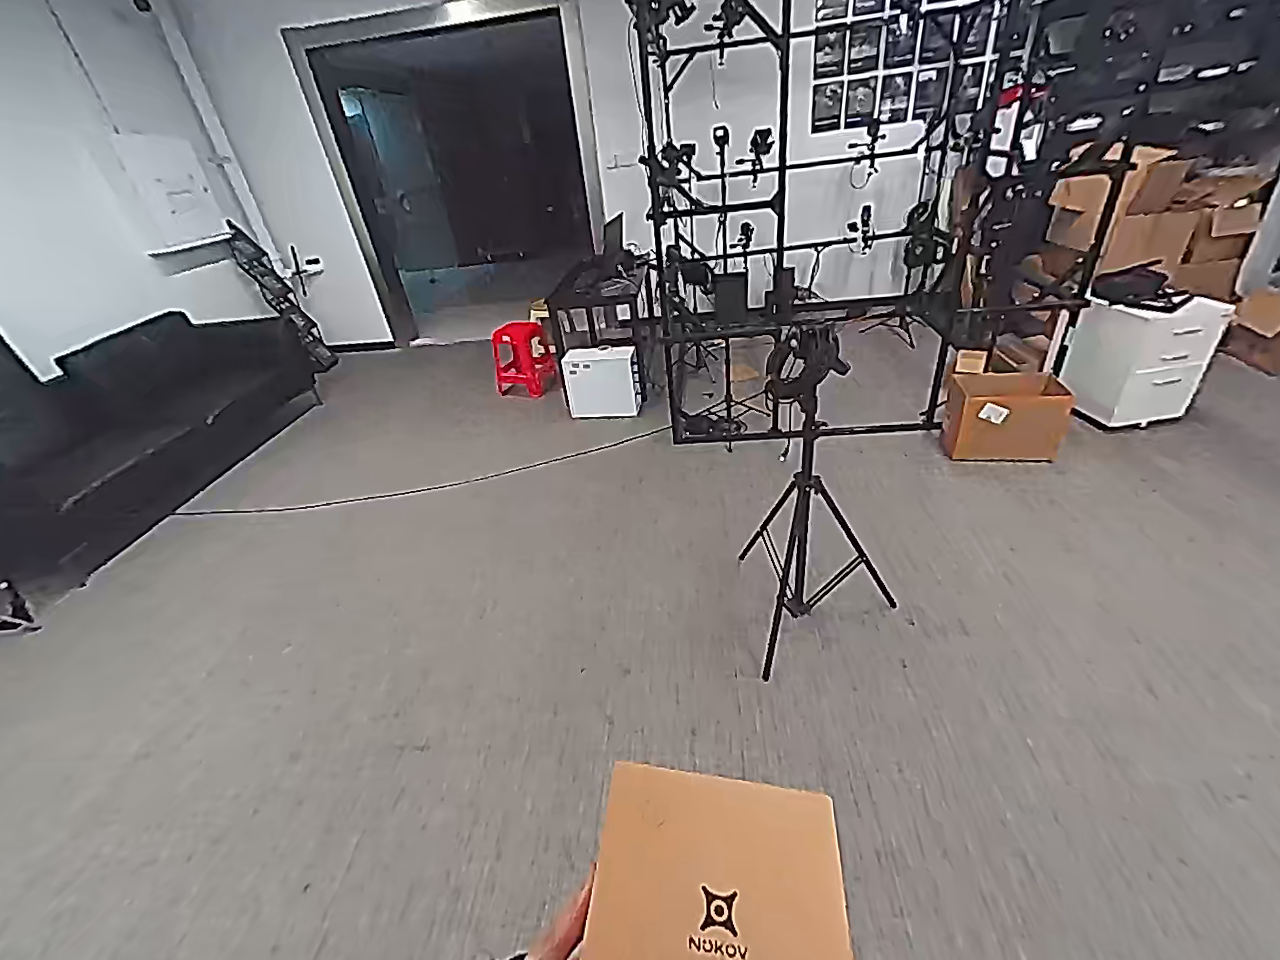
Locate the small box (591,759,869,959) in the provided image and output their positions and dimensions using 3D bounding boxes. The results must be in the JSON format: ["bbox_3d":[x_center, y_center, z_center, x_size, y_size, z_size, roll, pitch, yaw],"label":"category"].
[{"bbox_3d":[0.051,0.334,0.381,0.168,0.176,0.179,6,38,4],"label":"small box"}]
